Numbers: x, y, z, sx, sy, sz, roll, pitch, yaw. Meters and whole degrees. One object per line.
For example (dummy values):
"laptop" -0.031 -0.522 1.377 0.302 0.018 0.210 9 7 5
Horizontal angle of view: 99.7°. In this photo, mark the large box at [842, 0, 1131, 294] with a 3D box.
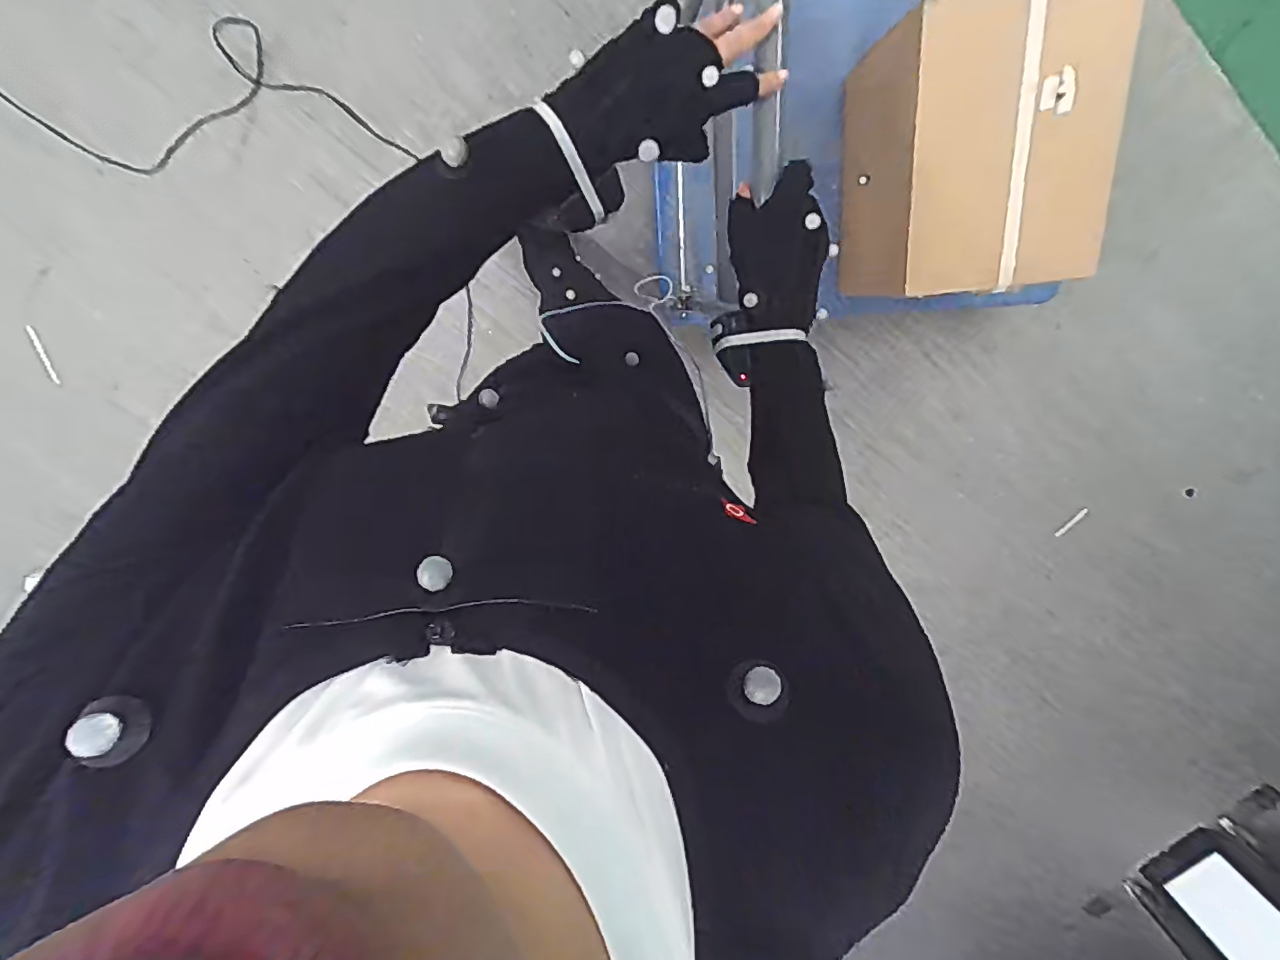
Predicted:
"large box" 0.565 -0.562 0.965 0.320 0.320 0.408 -6 109 1
